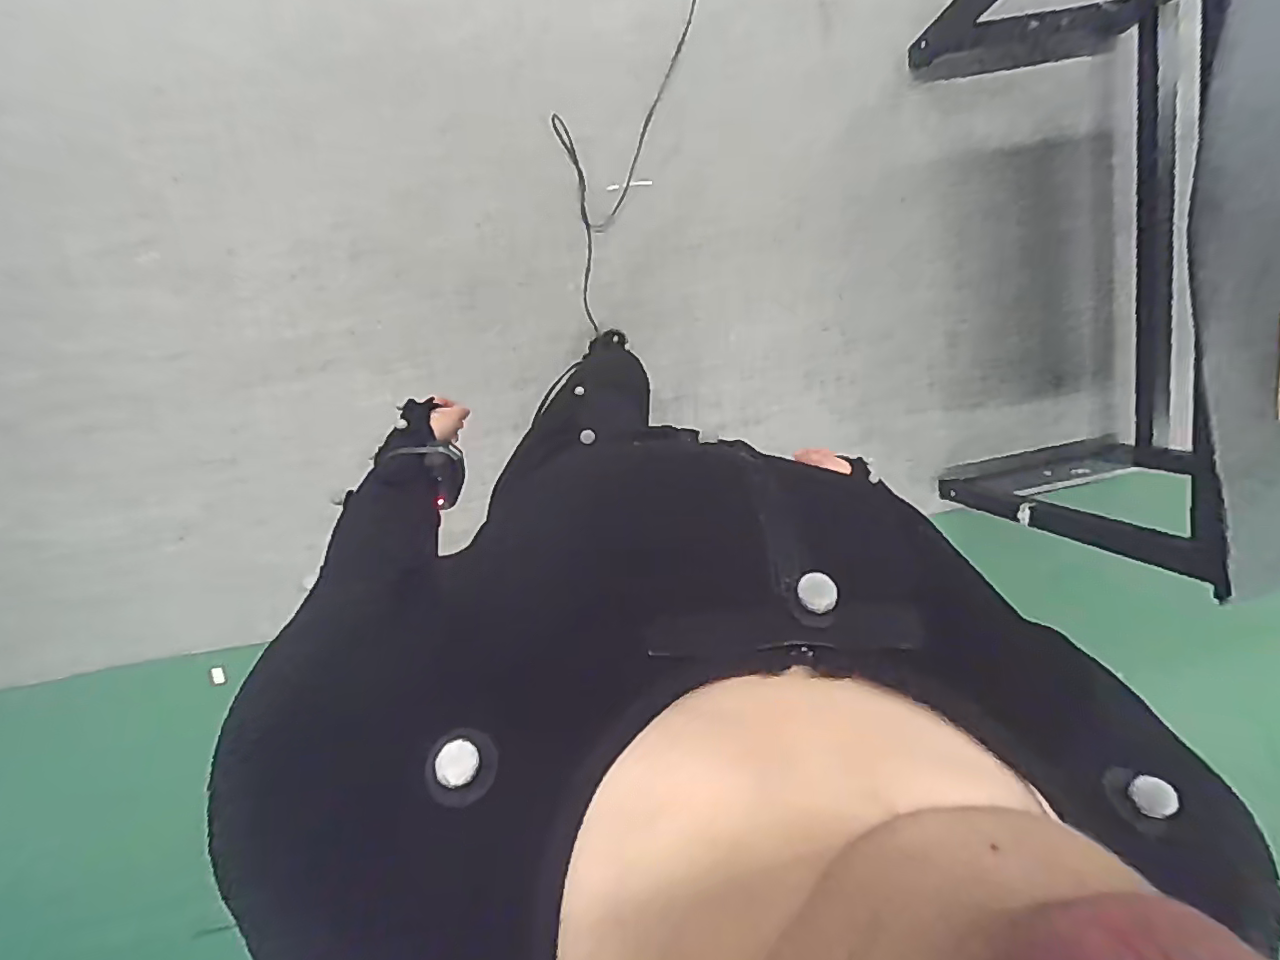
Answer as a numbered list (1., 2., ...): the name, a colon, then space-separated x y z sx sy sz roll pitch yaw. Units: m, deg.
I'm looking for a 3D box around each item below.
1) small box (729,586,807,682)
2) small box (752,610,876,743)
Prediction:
1. small box: 0.338 0.386 1.323 0.168 0.176 0.179 27 97 -7
2. small box: 0.360 0.413 1.162 0.179 0.176 0.168 -33 100 0
